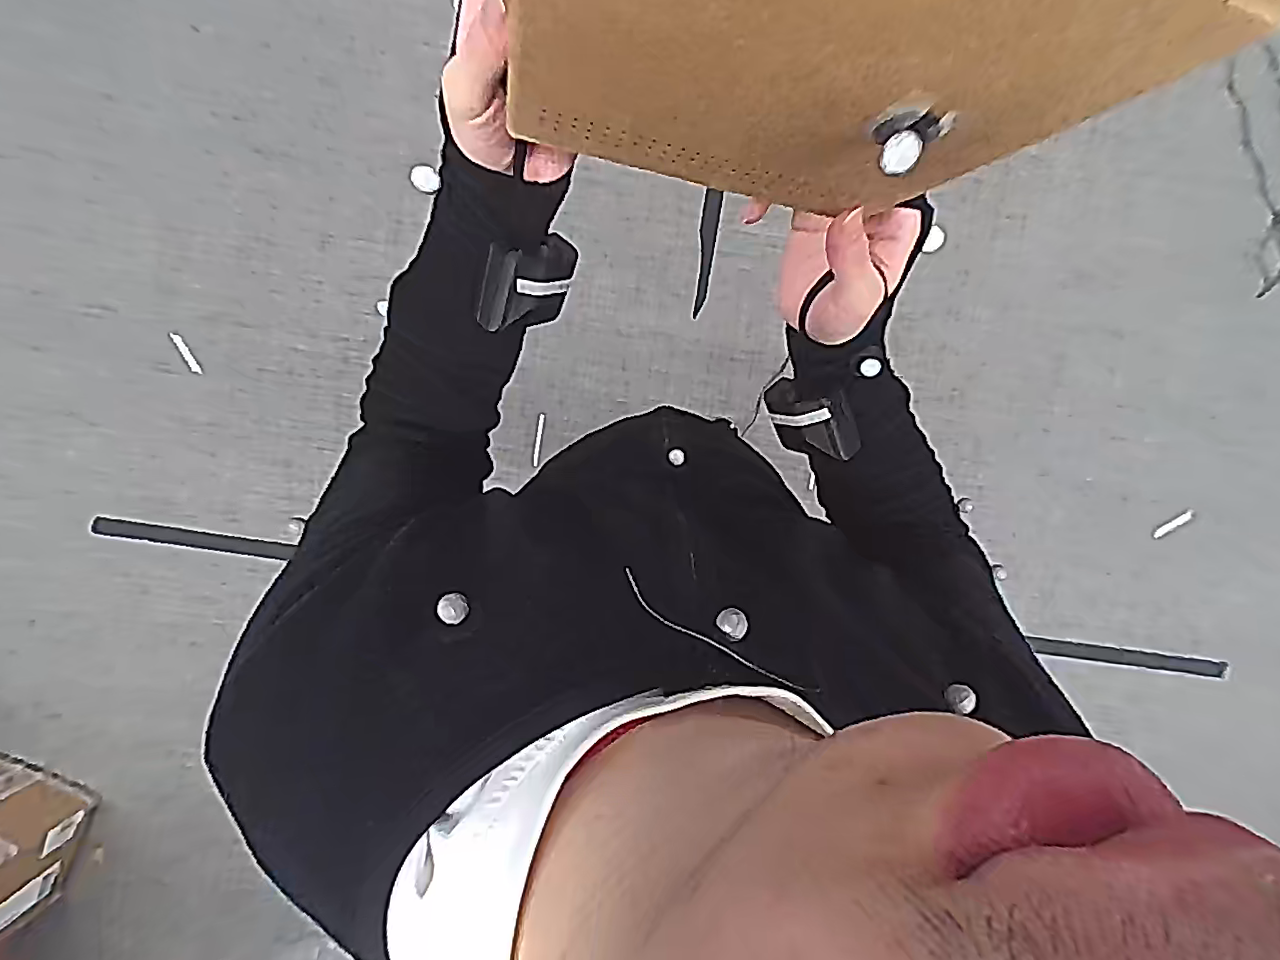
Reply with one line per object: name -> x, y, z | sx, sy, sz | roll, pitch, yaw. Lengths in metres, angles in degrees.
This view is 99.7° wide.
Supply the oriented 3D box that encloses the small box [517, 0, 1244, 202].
small box -> 0.056, -0.213, 0.177 | 0.179, 0.176, 0.168 | 4, 97, -14
